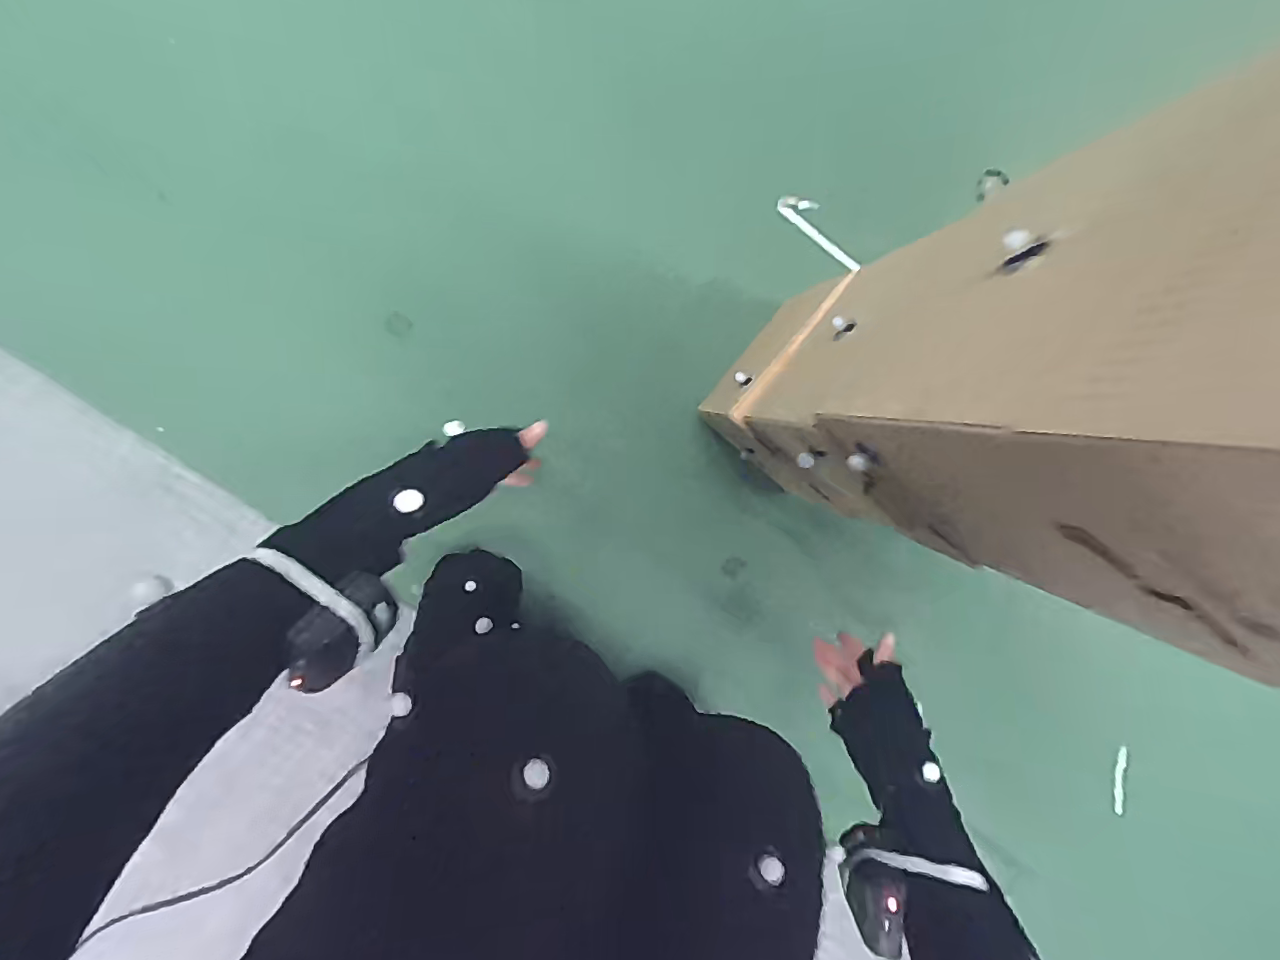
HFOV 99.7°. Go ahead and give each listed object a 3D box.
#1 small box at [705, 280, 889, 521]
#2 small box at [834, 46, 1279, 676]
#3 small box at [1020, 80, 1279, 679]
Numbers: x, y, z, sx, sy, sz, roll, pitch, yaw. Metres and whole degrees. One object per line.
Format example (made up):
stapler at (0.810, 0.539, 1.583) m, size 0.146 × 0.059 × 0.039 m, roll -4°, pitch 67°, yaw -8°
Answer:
small box at (0.194, -0.086, 0.600) m, size 0.168 × 0.176 × 0.179 m, roll 39°, pitch 94°, yaw -9°
small box at (0.228, -0.047, 0.275) m, size 0.168 × 0.176 × 0.179 m, roll 38°, pitch 93°, yaw -9°
small box at (0.239, -0.026, 0.112) m, size 0.168 × 0.176 × 0.179 m, roll 37°, pitch 94°, yaw -9°
